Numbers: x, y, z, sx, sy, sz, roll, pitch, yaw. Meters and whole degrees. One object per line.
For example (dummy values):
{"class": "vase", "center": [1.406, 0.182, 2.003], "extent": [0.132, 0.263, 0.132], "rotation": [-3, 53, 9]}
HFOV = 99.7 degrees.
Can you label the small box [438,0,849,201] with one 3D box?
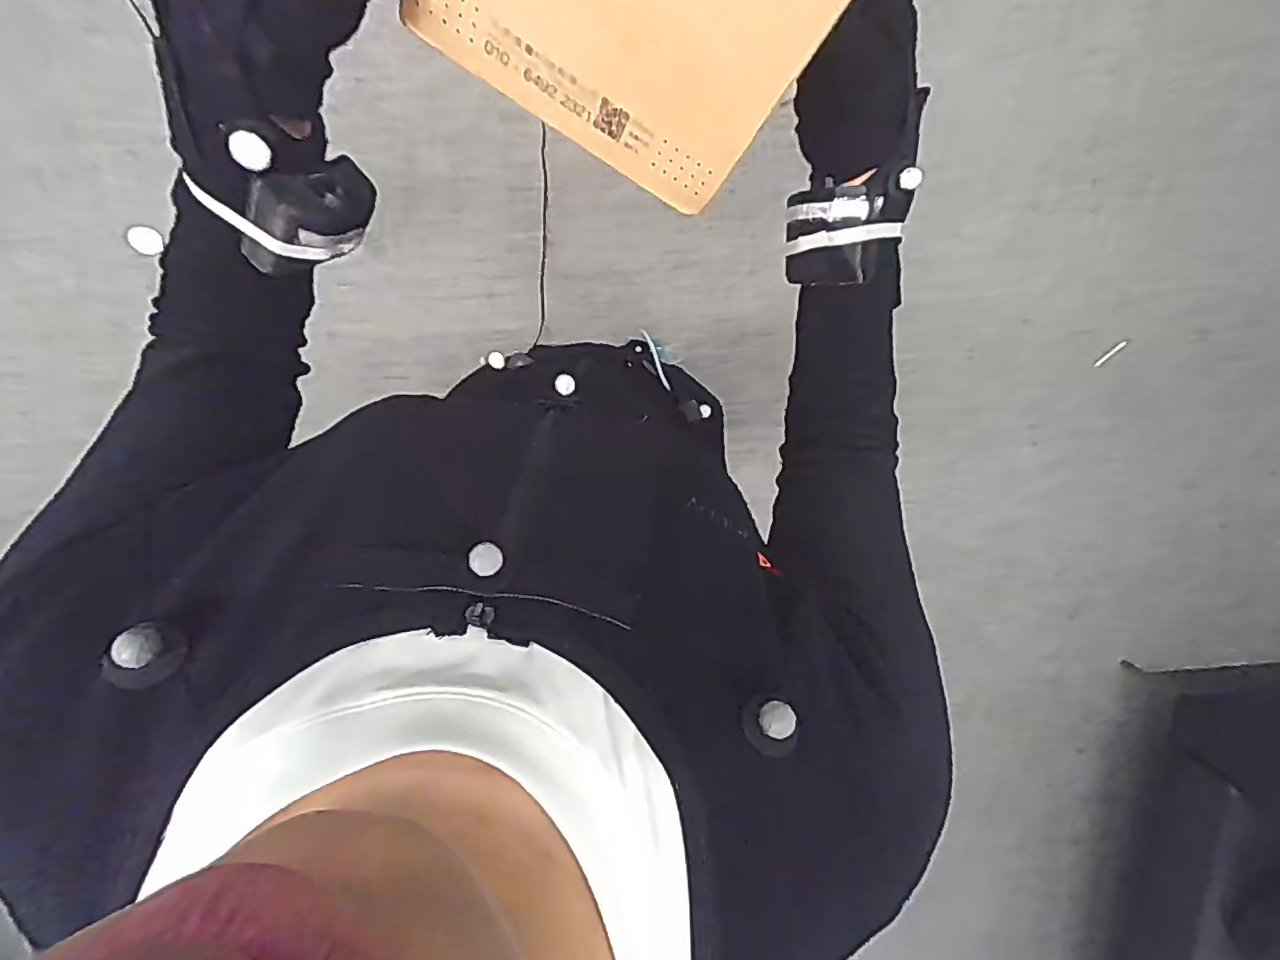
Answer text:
{"class": "small box", "center": [0.023, -0.279, 0.249], "extent": [0.168, 0.176, 0.179], "rotation": [27, 59, -14]}
